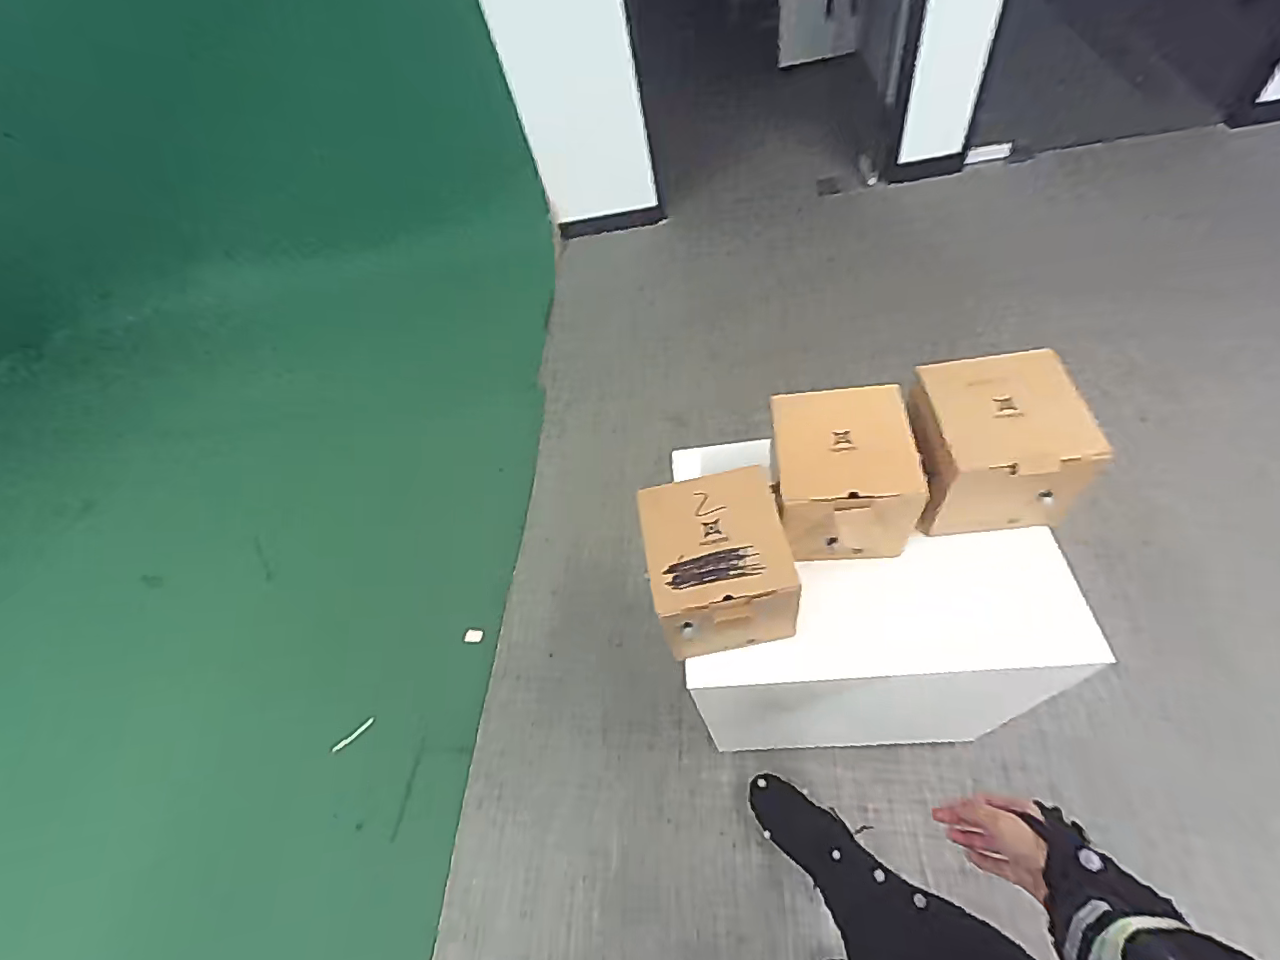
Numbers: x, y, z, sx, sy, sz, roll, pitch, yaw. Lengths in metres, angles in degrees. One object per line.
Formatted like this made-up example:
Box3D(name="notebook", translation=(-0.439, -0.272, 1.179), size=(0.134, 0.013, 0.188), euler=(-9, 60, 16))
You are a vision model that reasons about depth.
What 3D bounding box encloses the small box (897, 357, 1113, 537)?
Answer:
Box3D(name="small box", translation=(0.466, -0.035, 0.728), size=(0.168, 0.176, 0.179), euler=(-7, 54, 8))
